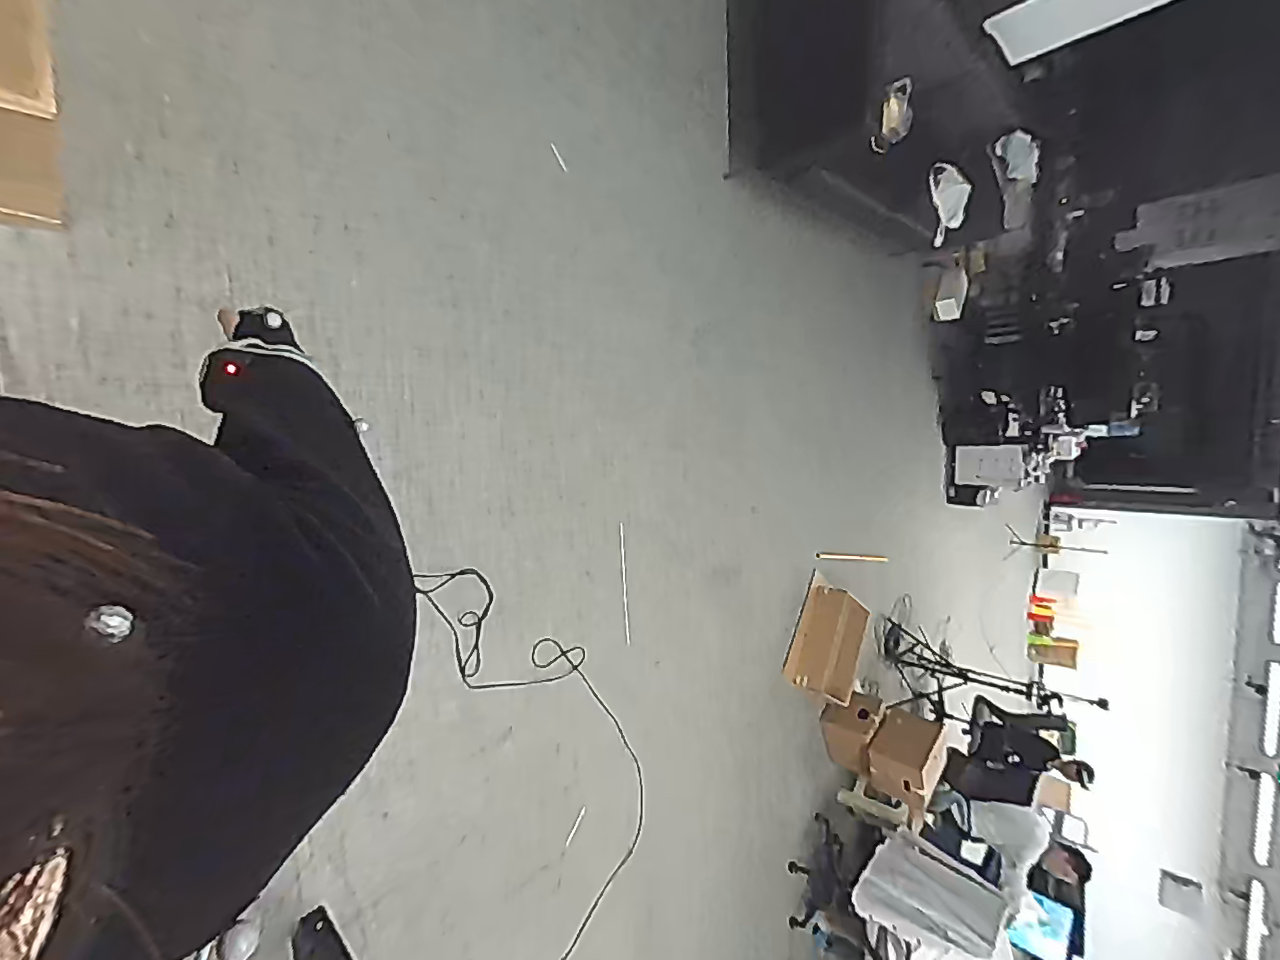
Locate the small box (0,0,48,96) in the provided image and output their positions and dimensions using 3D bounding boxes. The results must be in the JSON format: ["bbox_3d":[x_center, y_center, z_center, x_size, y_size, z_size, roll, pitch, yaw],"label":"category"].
[{"bbox_3d":[-0.771,-0.574,0.585,0.168,0.176,0.179,0,93,-45],"label":"small box"}]
